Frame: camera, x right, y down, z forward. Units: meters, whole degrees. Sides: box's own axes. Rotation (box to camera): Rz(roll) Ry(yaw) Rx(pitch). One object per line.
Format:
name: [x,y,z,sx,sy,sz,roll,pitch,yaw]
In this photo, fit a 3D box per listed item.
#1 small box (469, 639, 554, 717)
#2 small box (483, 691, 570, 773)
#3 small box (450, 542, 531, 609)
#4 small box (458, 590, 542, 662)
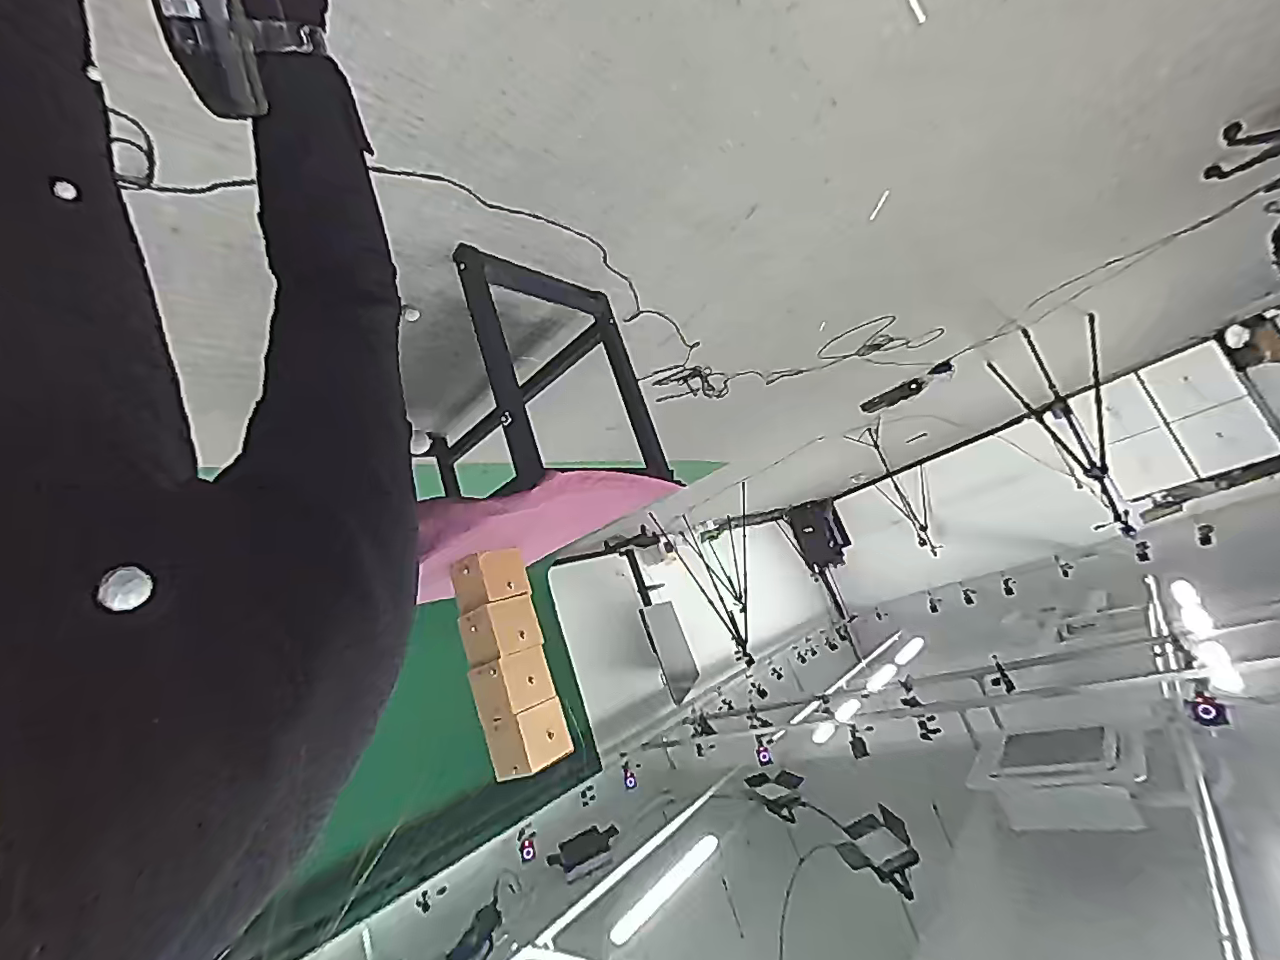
small box: [-0.403,0.610,1.680,0.168,0.176,0.179,-29,164,33]
small box: [-0.346,0.760,1.645,0.168,0.176,0.179,-29,164,32]
small box: [-0.493,0.309,1.776,0.168,0.176,0.179,-28,163,32]
small box: [-0.447,0.458,1.723,0.168,0.176,0.179,-30,163,34]
